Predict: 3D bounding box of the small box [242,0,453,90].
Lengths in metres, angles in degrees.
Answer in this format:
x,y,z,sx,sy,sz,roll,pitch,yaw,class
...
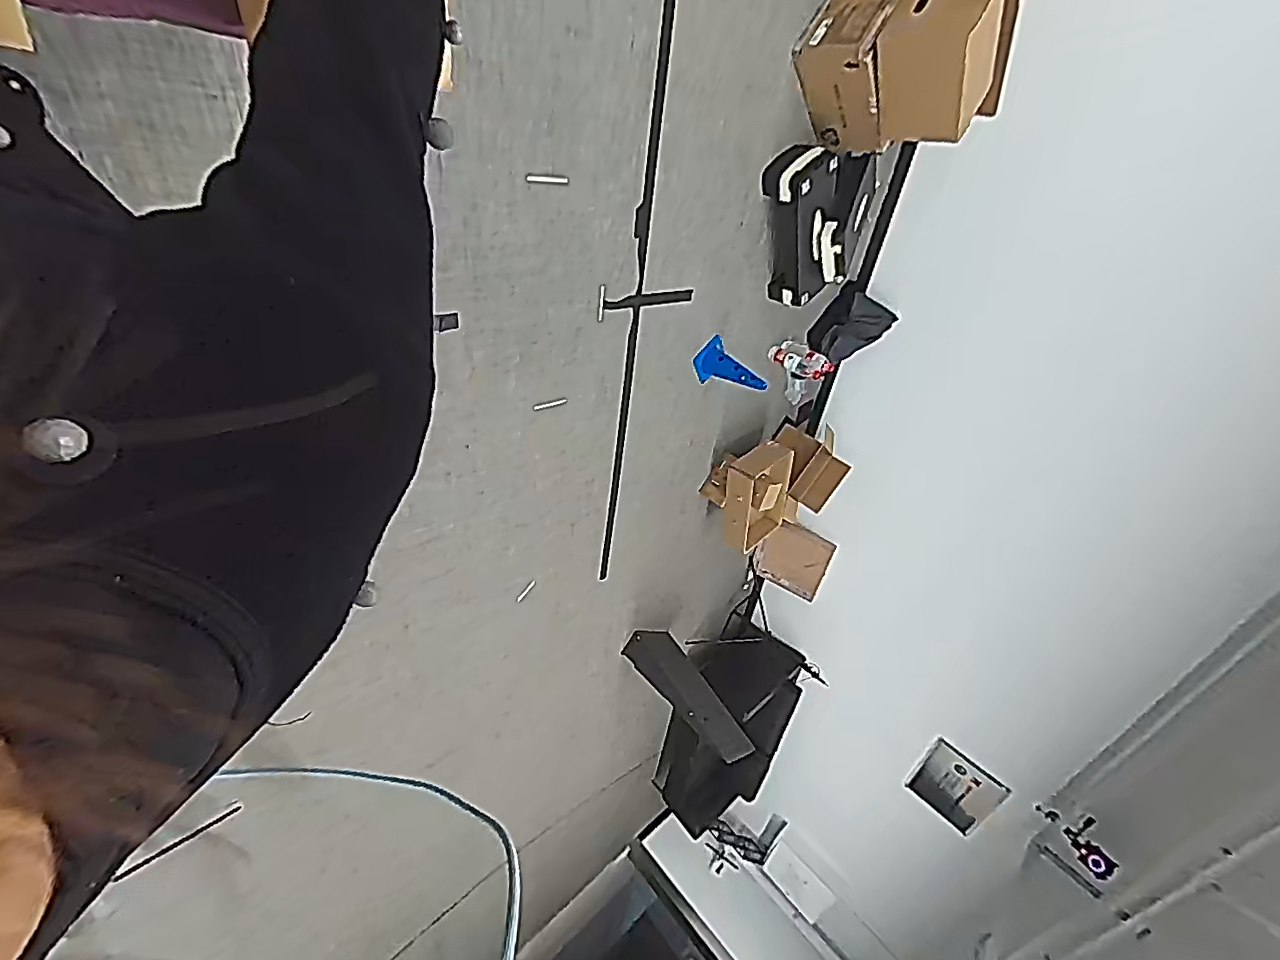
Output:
x,y,z,sx,sy,sz,roll,pitch,yaw,class
-0.318,-0.535,0.572,0.168,0.176,0.179,-22,134,-37,small box
